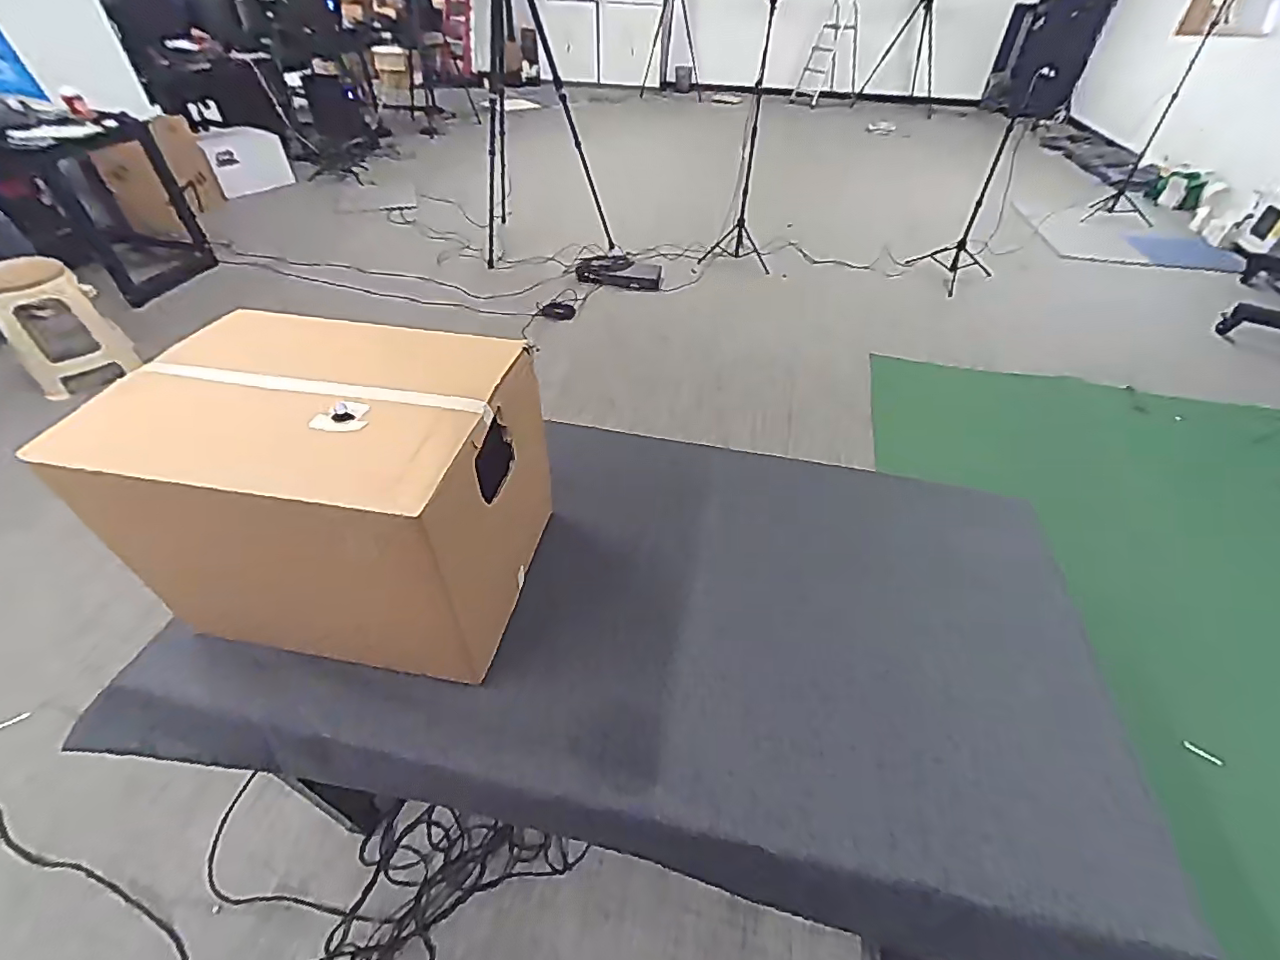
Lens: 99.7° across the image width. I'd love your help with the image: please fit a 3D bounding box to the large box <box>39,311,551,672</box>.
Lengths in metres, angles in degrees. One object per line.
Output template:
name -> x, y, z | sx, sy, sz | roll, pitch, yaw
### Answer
large box -> -0.356, 0.010, 0.699 | 0.408, 0.320, 0.320 | 8, 44, 4
